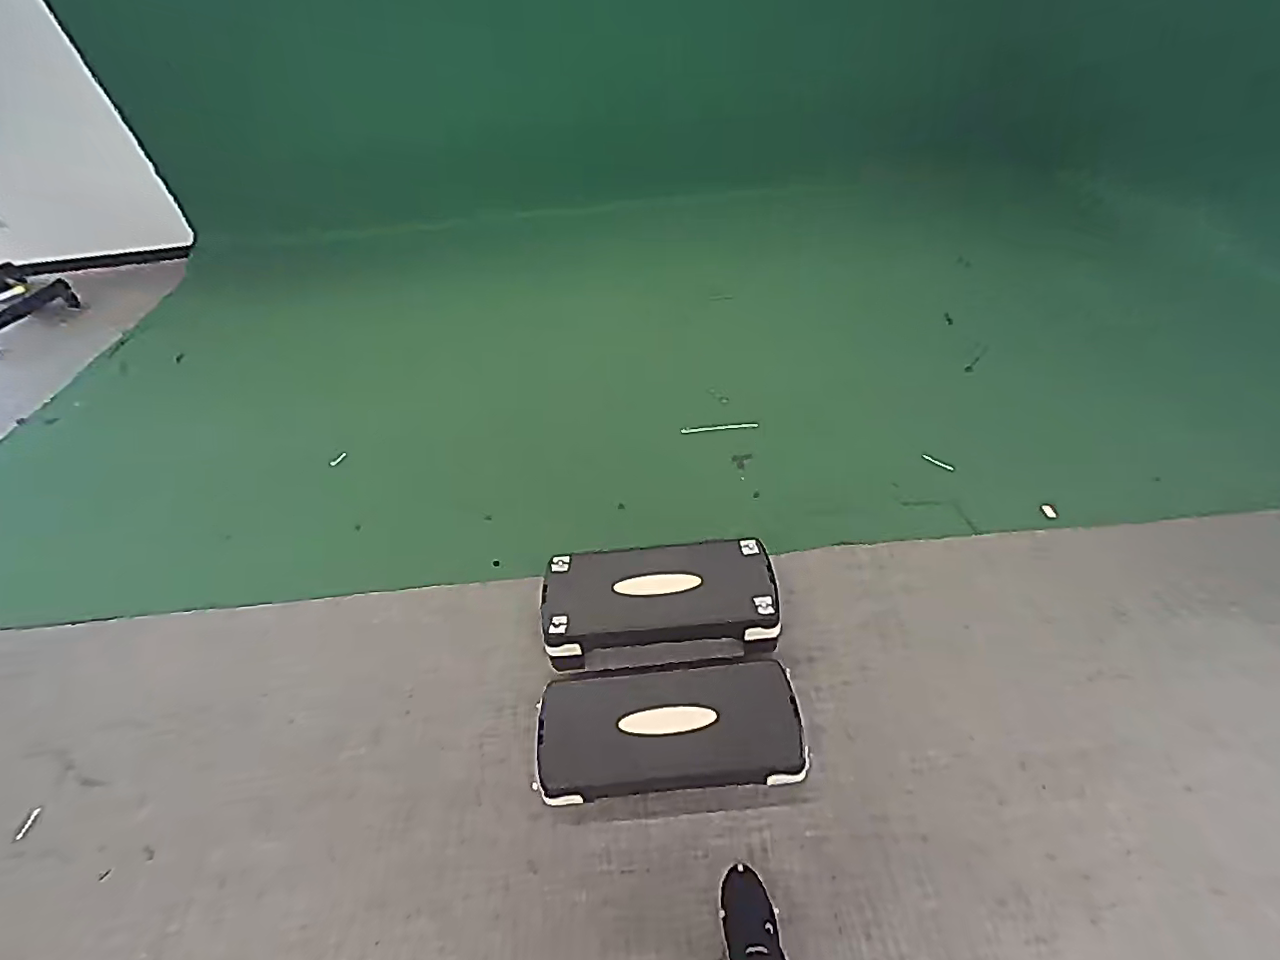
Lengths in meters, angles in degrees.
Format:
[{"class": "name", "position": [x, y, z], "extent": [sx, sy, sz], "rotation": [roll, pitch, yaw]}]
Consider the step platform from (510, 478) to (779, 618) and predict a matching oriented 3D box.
[{"class": "step platform", "position": [0.012, 0.185, 1.459], "extent": [0.684, 0.204, 0.286], "rotation": [-6, 47, 1]}]
